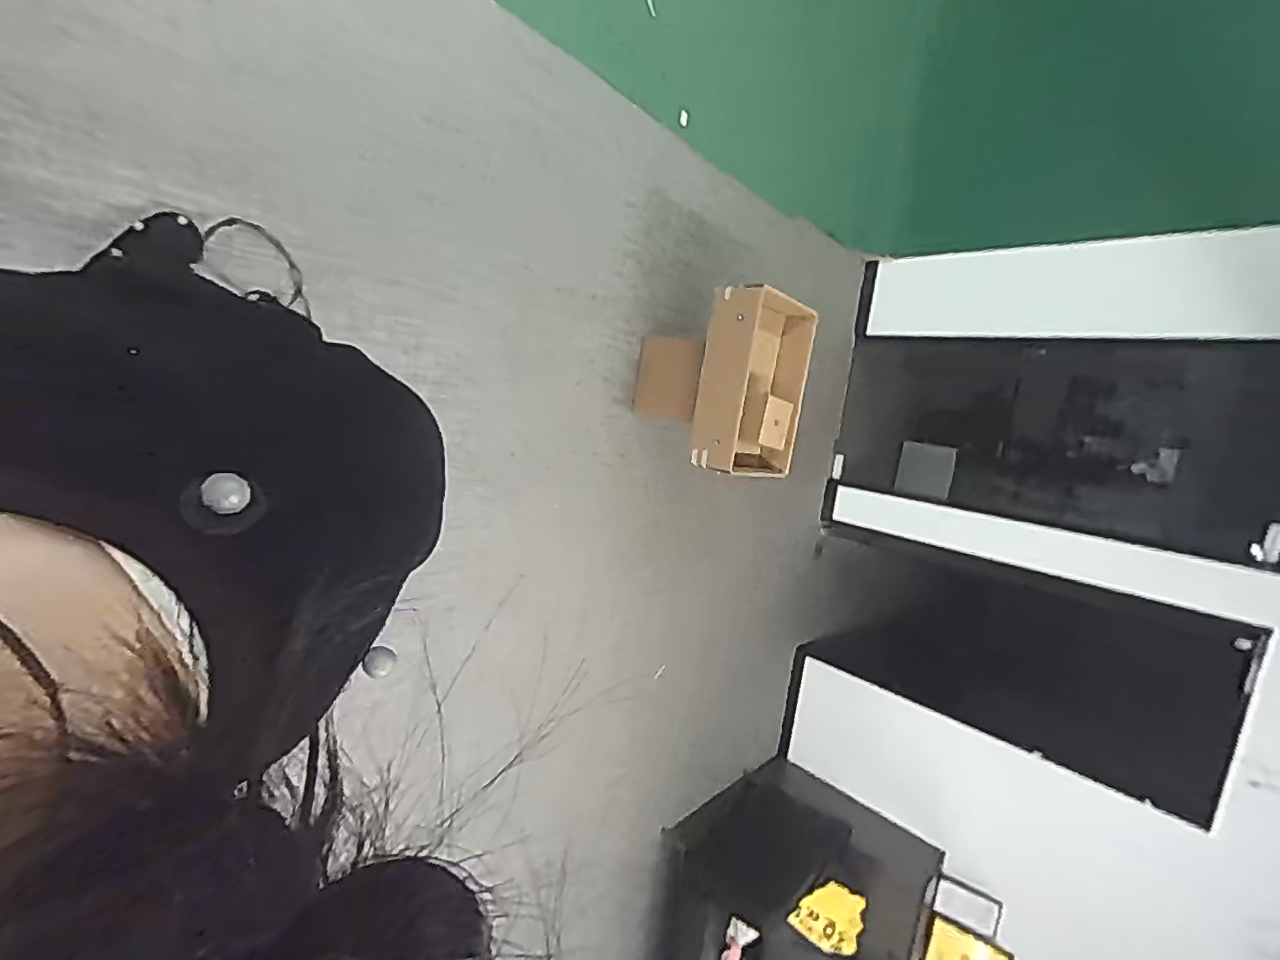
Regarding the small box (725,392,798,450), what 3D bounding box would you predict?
[{"bbox_3d":[0.423,-0.209,1.891,0.179,0.176,0.168,9,95,-47],"label":"small box"}]
